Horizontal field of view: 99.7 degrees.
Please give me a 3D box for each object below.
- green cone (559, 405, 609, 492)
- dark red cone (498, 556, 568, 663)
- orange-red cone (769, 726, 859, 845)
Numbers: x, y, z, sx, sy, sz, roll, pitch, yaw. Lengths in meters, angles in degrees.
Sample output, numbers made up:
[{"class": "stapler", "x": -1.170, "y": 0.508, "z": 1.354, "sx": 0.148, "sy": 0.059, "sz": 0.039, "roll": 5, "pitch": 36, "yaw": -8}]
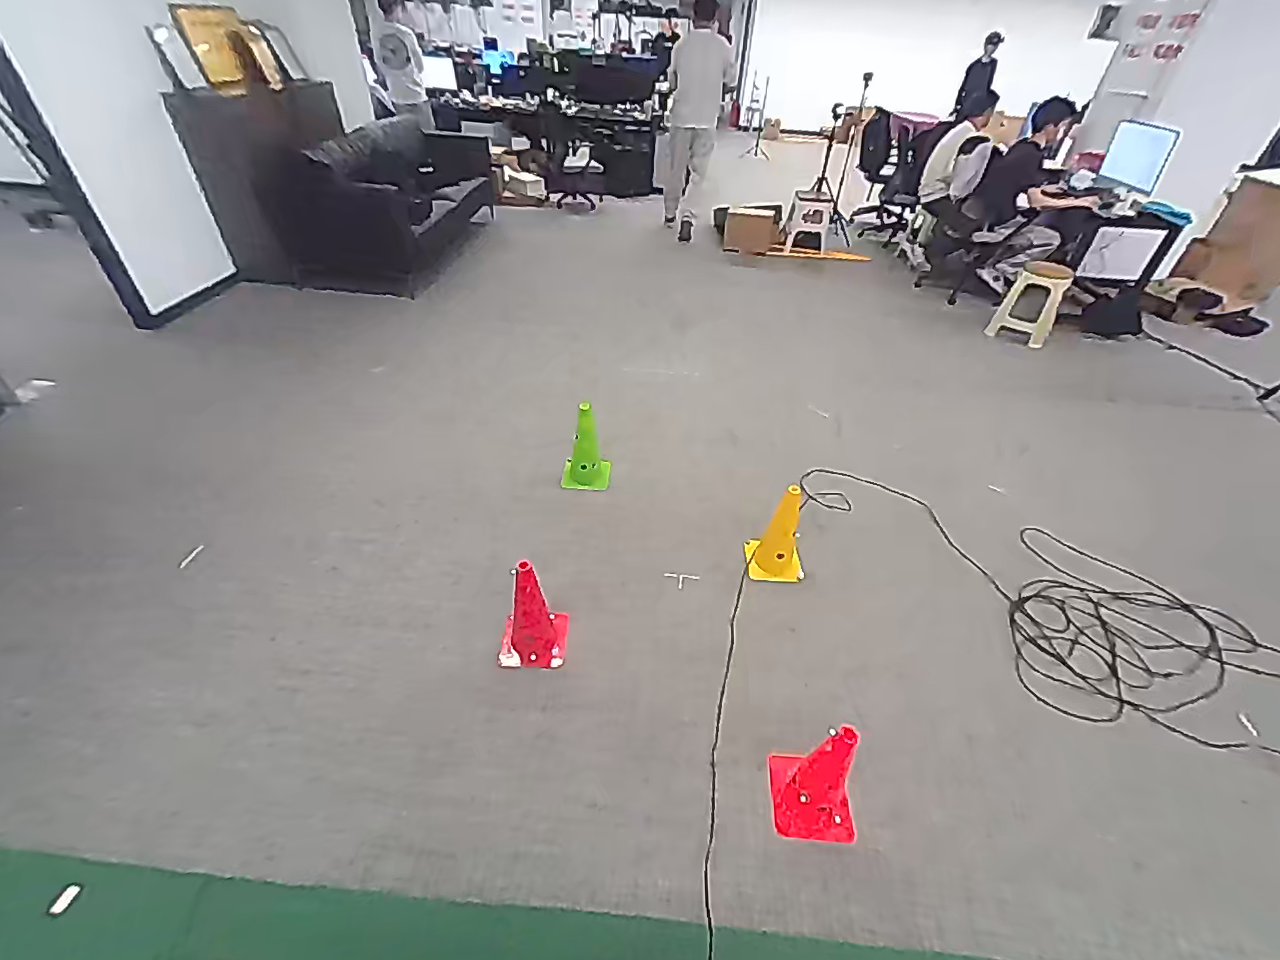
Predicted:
[{"class": "green cone", "x": -0.233, "y": -0.149, "z": 2.263, "sx": 0.202, "sy": 0.368, "sz": 0.200, "roll": 4, "pitch": 40, "yaw": 0}, {"class": "dark red cone", "x": -0.326, "y": 0.364, "z": 1.595, "sx": 0.202, "sy": 0.394, "sz": 0.201, "roll": 1, "pitch": 41, "yaw": -2}, {"class": "orange-red cone", "x": 0.448, "y": 0.688, "z": 1.289, "sx": 0.198, "sy": 0.360, "sz": 0.199, "roll": 6, "pitch": 39, "yaw": 2}]
